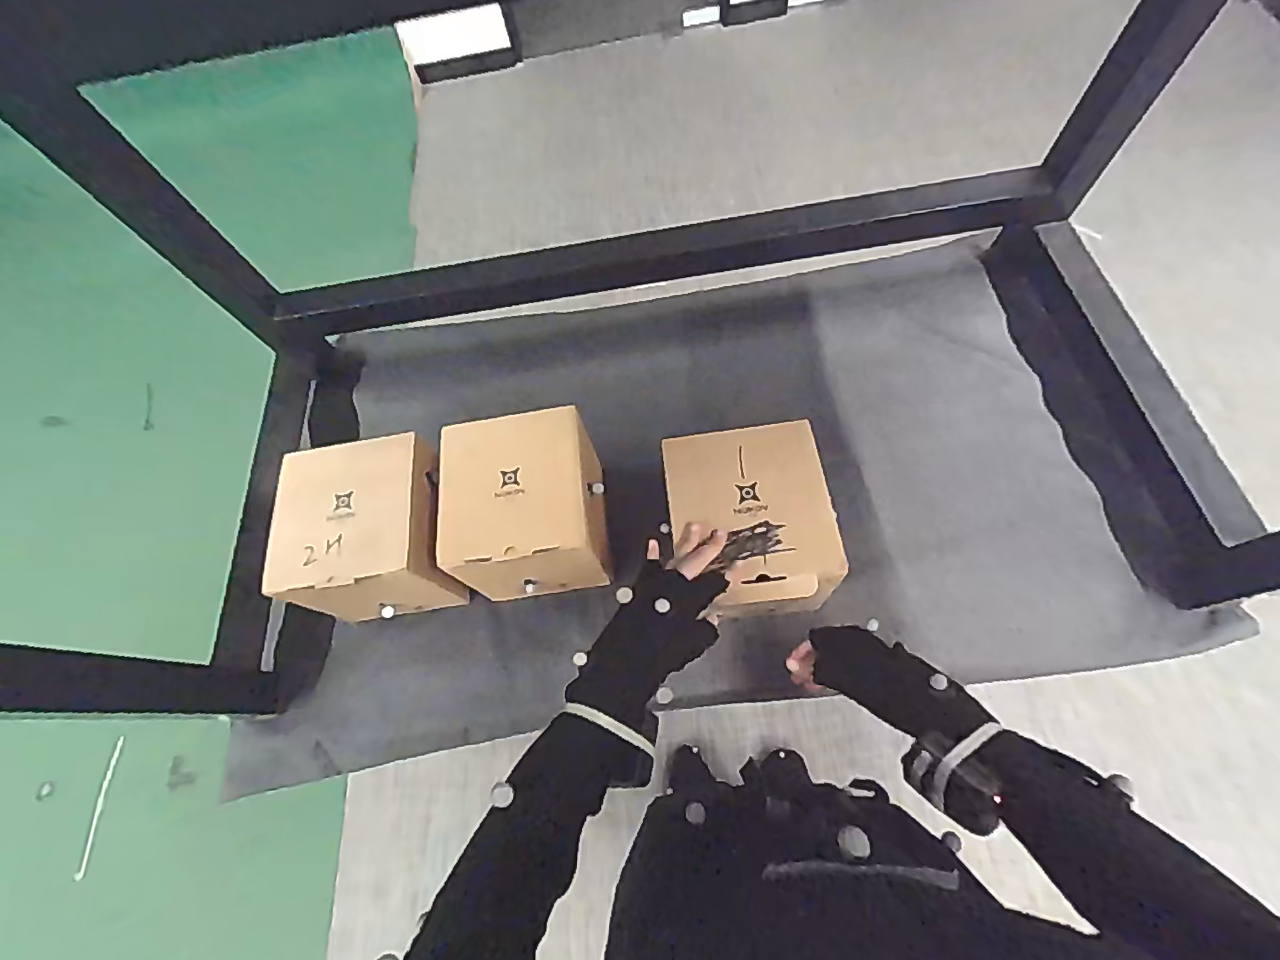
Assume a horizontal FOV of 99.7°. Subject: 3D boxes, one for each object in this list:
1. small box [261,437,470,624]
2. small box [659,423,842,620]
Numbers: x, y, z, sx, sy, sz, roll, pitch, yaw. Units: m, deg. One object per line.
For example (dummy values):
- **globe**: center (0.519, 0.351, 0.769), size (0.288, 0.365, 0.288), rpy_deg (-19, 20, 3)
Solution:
- **small box**: center (-0.327, 0.071, 0.684), size (0.168, 0.176, 0.179), rpy_deg (-10, 64, 3)
- **small box**: center (0.119, 0.059, 0.630), size (0.168, 0.176, 0.179), rpy_deg (-8, 63, 4)
